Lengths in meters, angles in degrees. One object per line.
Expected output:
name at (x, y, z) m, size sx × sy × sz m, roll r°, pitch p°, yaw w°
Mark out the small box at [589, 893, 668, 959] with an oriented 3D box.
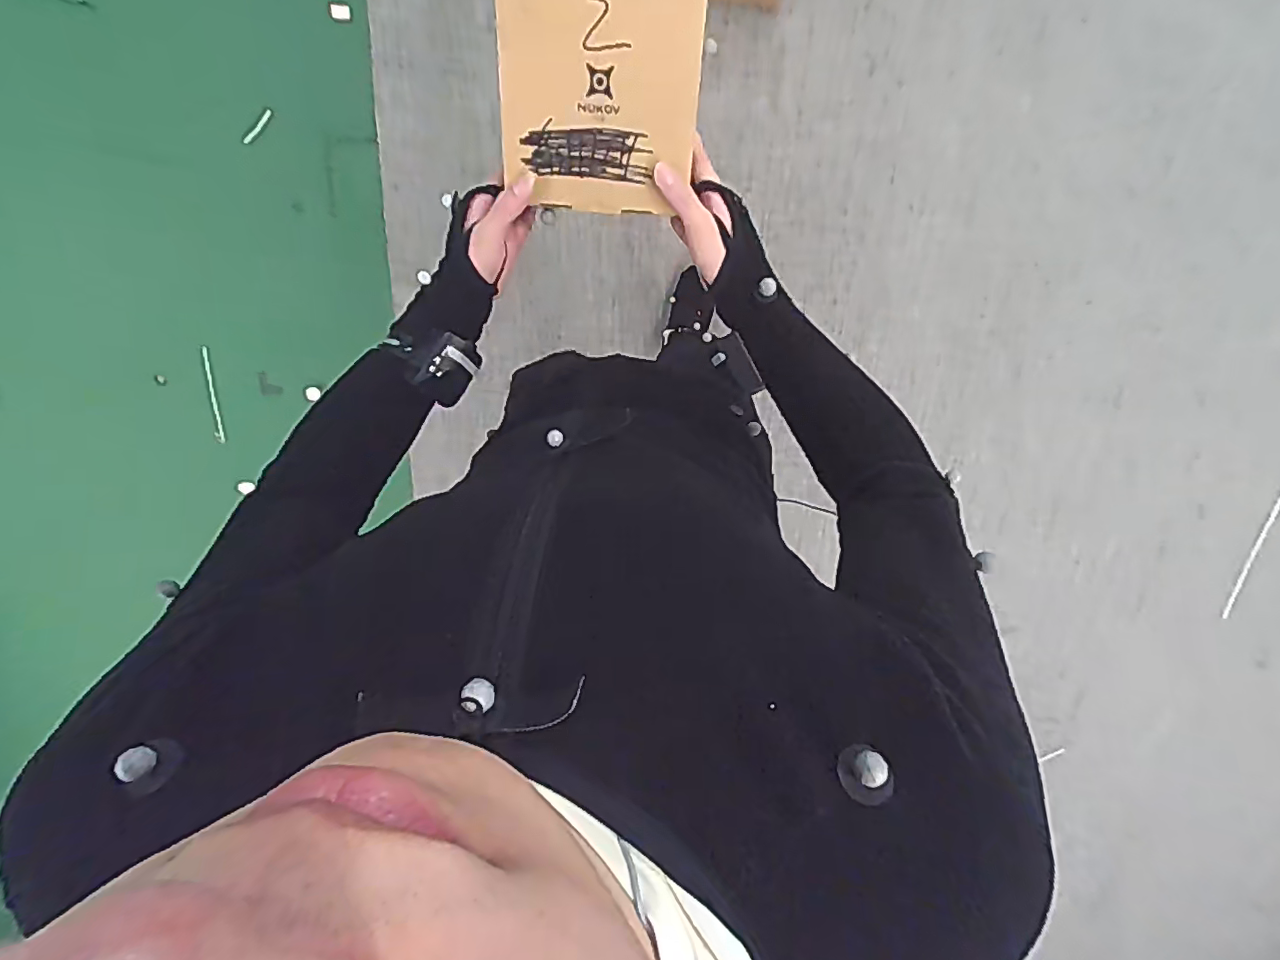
small box at (-0.027, 1.070, 1.209) m, size 0.168 × 0.176 × 0.179 m, roll 3°, pitch 111°, yaw 5°
